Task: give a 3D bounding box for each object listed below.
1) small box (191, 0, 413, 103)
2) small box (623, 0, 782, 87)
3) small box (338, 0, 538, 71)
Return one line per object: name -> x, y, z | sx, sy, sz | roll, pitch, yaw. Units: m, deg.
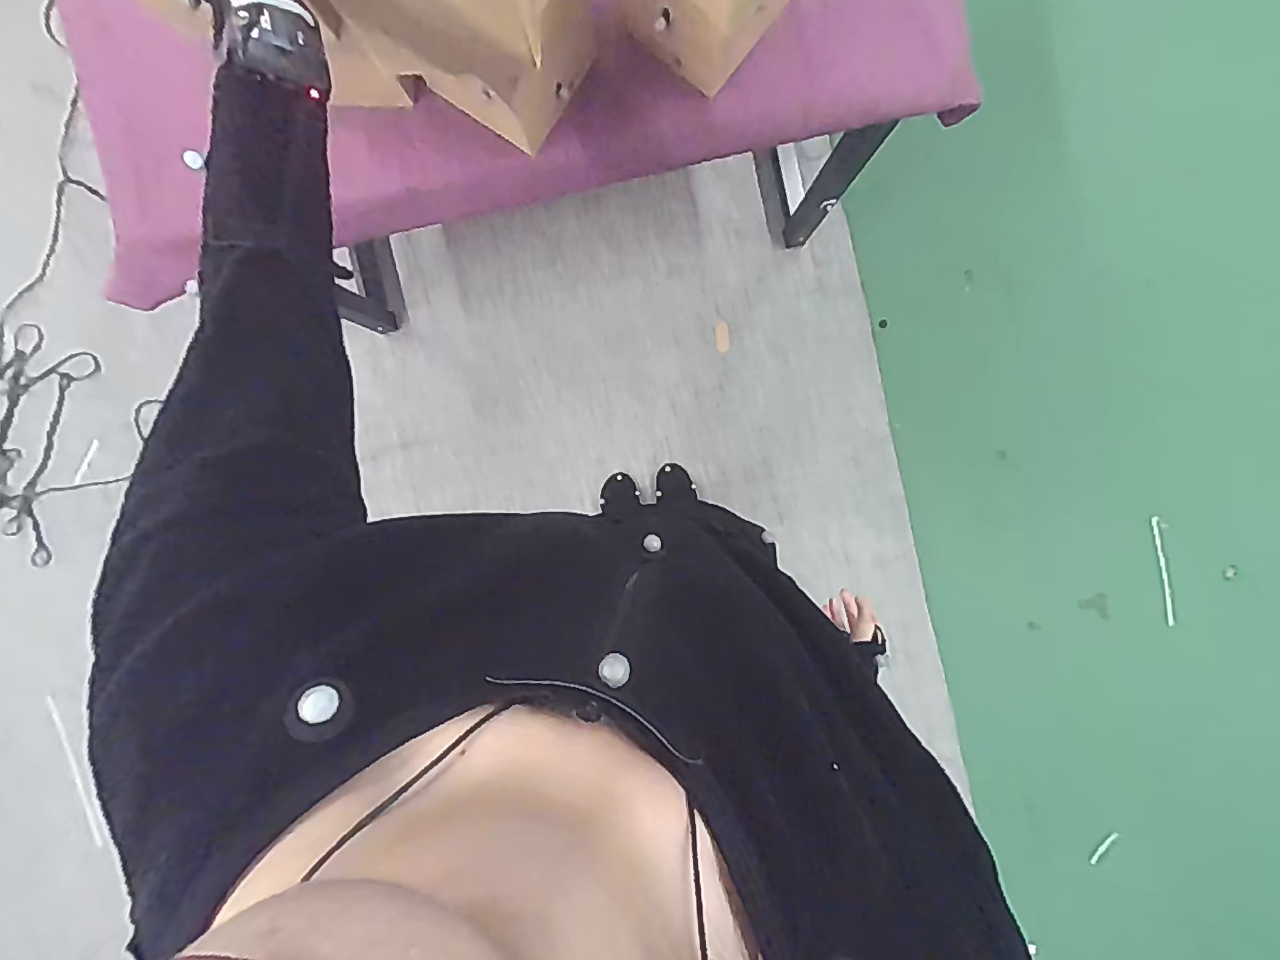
small box -> -0.398, -0.595, 0.659 | 0.179, 0.176, 0.168 | 0, 94, 0
small box -> 0.084, -0.638, 0.653 | 0.168, 0.176, 0.179 | 39, 94, -2
small box -> -0.198, -0.518, 0.500 | 0.179, 0.176, 0.168 | 0, 94, 0
